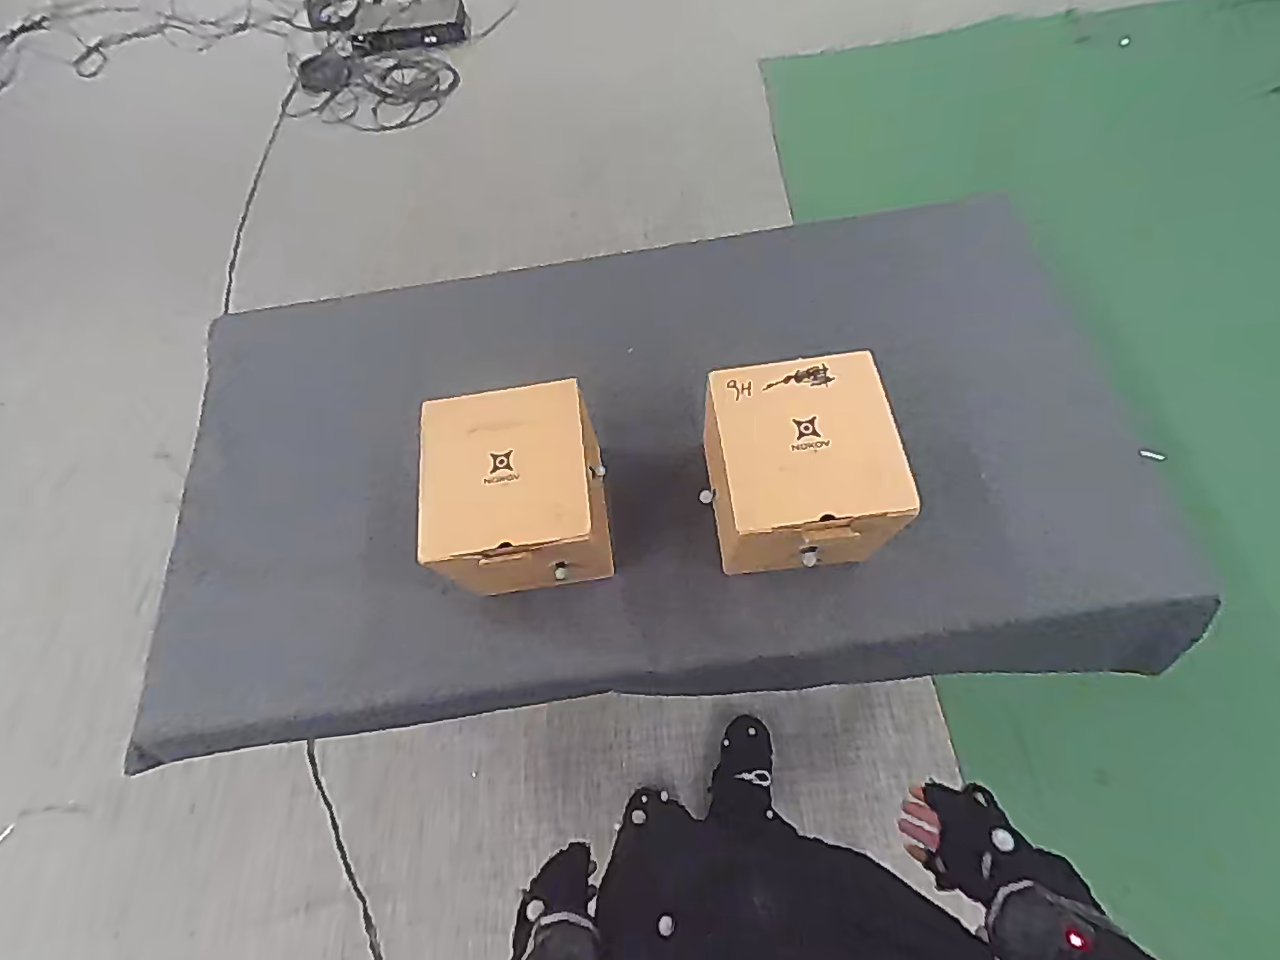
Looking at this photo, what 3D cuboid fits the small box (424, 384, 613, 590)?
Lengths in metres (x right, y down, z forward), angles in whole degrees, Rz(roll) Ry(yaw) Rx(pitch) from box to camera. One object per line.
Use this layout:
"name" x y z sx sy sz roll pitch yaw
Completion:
"small box" -0.127 0.020 0.612 0.168 0.176 0.179 -9 65 0

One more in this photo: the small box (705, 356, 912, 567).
"small box" 0.166 -0.008 0.596 0.168 0.176 0.179 -7 67 2
